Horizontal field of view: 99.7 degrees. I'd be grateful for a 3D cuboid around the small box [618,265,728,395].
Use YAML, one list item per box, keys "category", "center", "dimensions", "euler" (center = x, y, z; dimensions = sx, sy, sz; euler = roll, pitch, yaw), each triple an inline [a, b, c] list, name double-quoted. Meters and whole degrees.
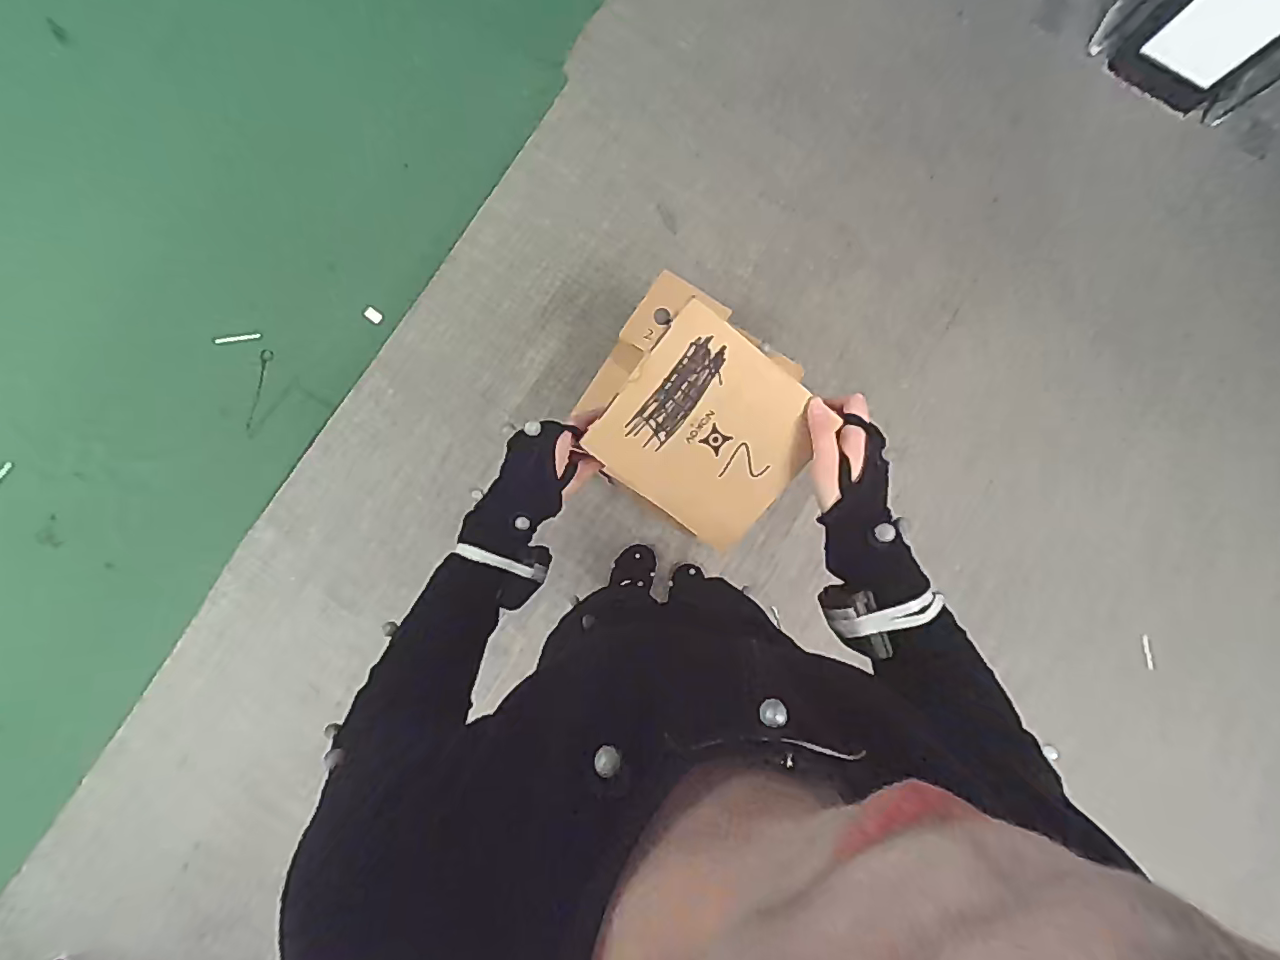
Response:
- category: "small box"
  center: [0.061, -0.311, 1.157]
  dimensions: [0.168, 0.176, 0.179]
  euler: [33, 82, 1]
